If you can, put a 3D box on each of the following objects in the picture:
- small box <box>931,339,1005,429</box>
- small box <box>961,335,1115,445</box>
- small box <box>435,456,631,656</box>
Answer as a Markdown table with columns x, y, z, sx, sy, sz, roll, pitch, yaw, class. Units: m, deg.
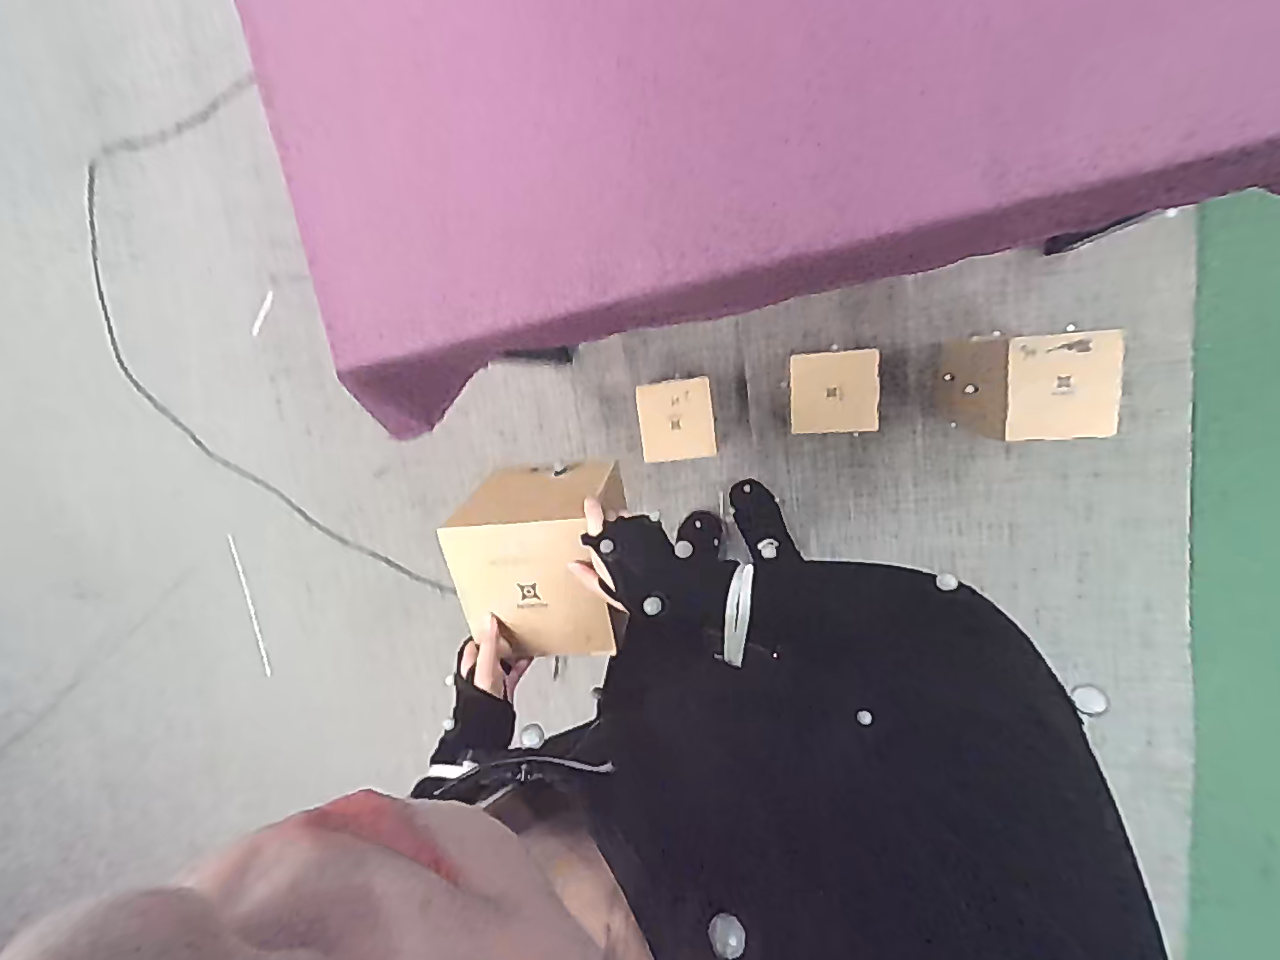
| x | y | z | sx | sy | sz | roll | pitch | yaw | class |
| --- | --- | --- | --- | --- | --- | --- | --- | --- | --- |
| 0.725 | -0.198 | 1.129 | 0.168 | 0.176 | 0.179 | 3 | 100 | 11 | small box |
| 0.697 | -0.163 | 0.970 | 0.168 | 0.176 | 0.179 | -1 | 101 | 11 | small box |
| -0.111 | 0.086 | 0.648 | 0.168 | 0.176 | 0.179 | -4 | 114 | 10 | small box |
